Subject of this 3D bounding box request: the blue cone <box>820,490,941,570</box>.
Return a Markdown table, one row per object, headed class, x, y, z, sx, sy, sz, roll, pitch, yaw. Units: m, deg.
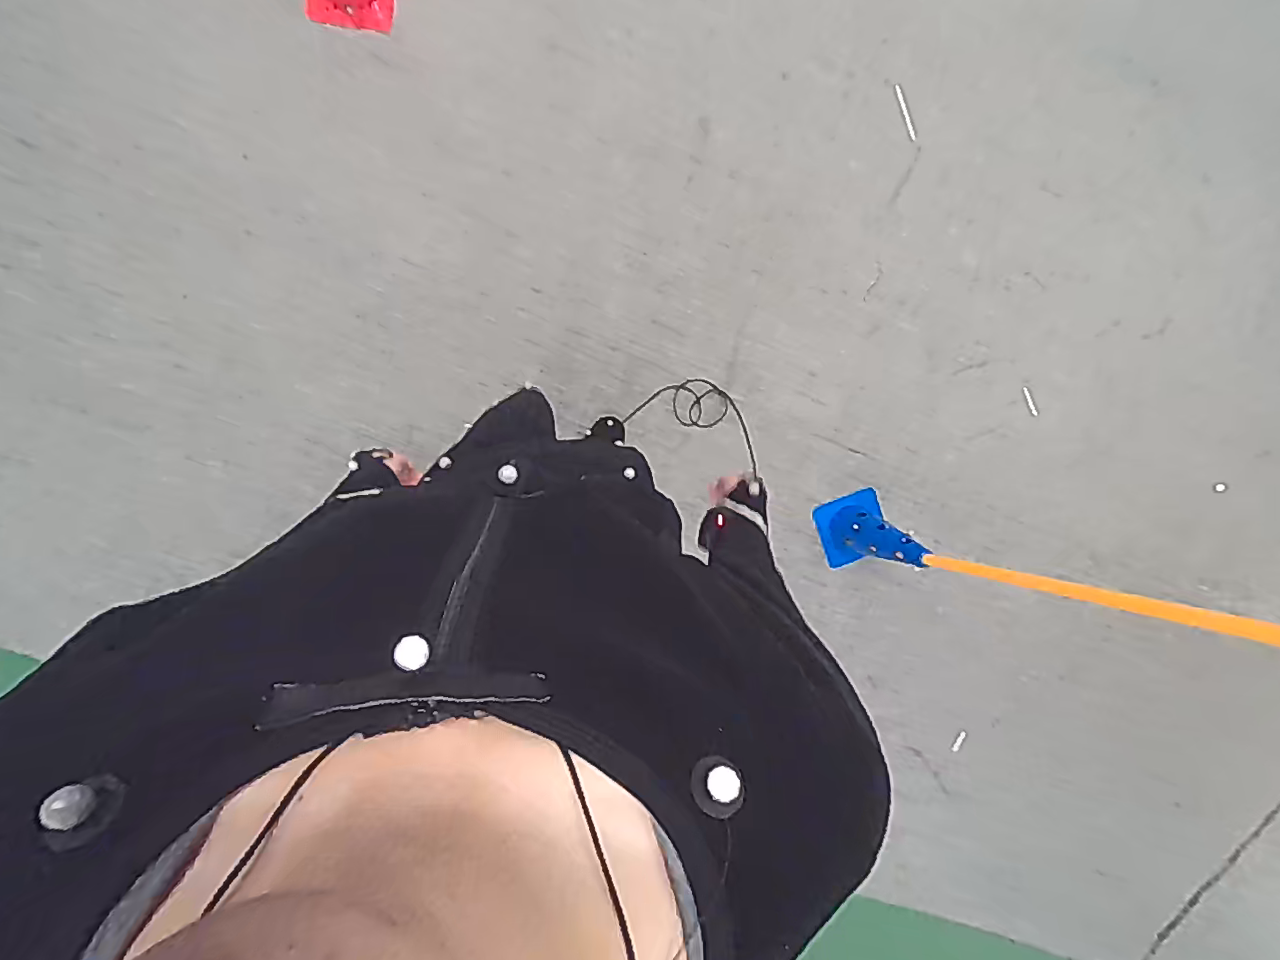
| class | x | y | z | sx | sy | sz | roll | pitch | yaw |
| --- | --- | --- | --- | --- | --- | --- | --- | --- | --- |
| blue cone | 0.648 | 0.157 | 1.419 | 0.193 | 0.380 | 0.192 | -23 | 99 | -4 |
